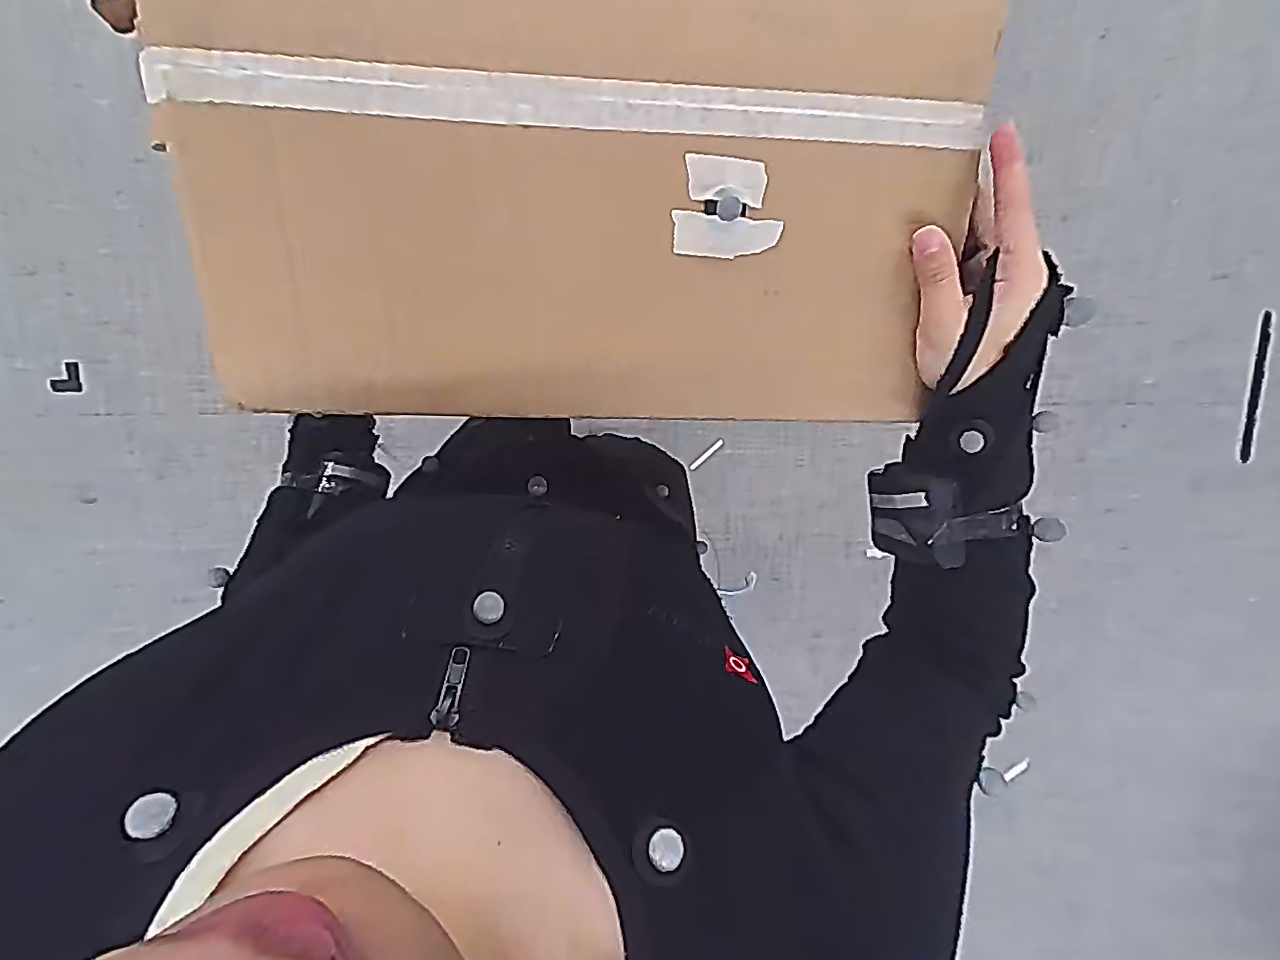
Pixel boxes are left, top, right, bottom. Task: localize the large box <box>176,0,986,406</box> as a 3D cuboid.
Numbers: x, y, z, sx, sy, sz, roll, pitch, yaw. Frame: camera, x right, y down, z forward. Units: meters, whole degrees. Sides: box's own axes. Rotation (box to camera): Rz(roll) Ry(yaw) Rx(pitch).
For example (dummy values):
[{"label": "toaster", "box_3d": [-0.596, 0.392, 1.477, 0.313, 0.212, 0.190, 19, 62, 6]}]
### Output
[{"label": "large box", "box_3d": [-0.036, -0.236, 0.421, 0.408, 0.320, 0.320, 0, 108, -6]}]
